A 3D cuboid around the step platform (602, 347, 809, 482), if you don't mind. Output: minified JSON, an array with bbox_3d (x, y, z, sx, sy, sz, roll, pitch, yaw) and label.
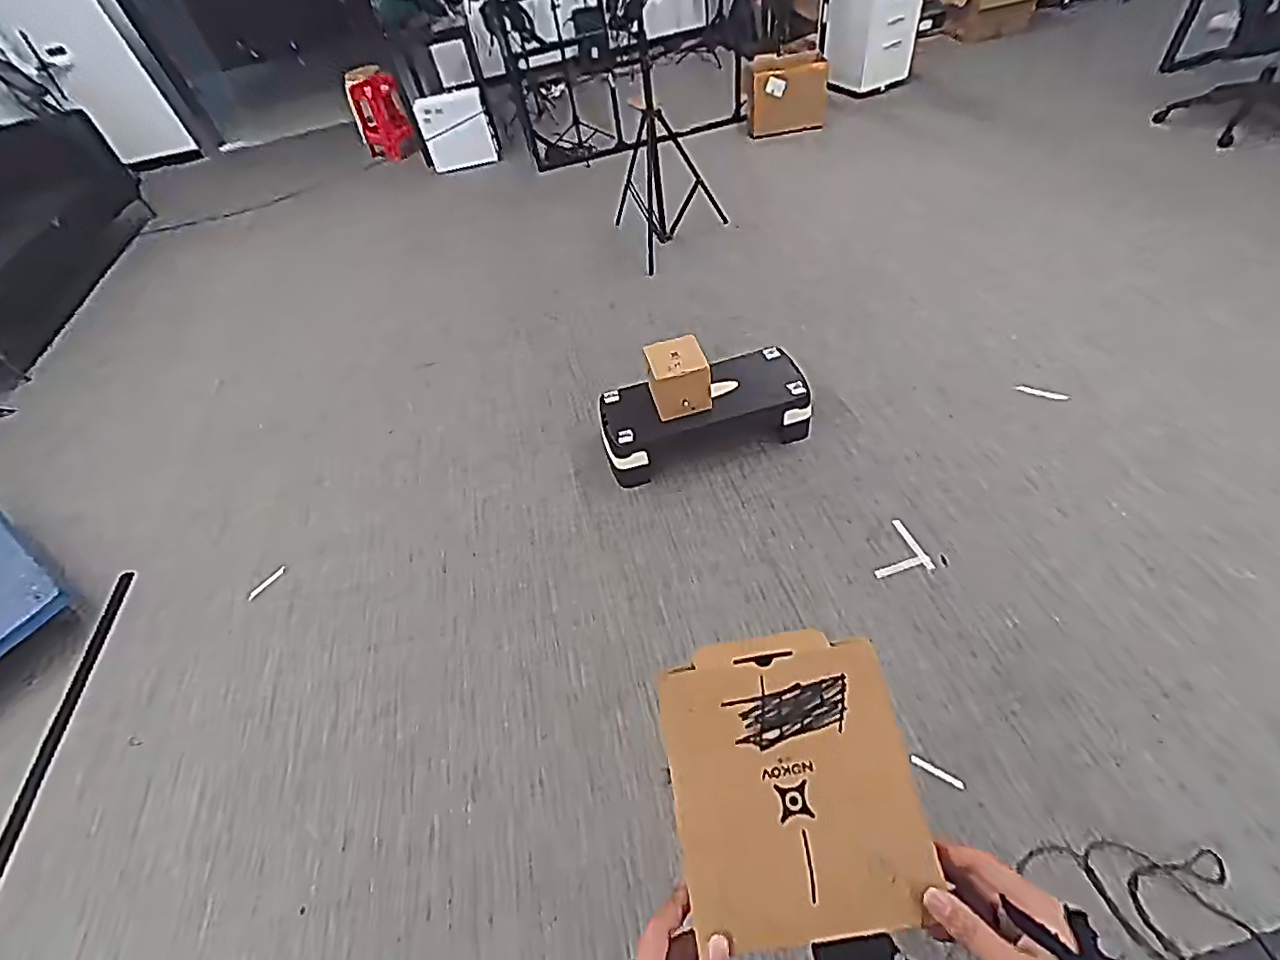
[{"bbox_3d":[0.216,-0.230,1.840,0.684,0.204,0.286,-16,49,-3],"label":"step platform"}]

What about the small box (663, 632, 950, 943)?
[{"bbox_3d":[0.112,0.236,0.451,0.168,0.176,0.179,-9,68,1],"label":"small box"}]

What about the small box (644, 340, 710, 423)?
[{"bbox_3d":[0.116,-0.306,1.693,0.168,0.176,0.179,-15,49,-2],"label":"small box"}]
